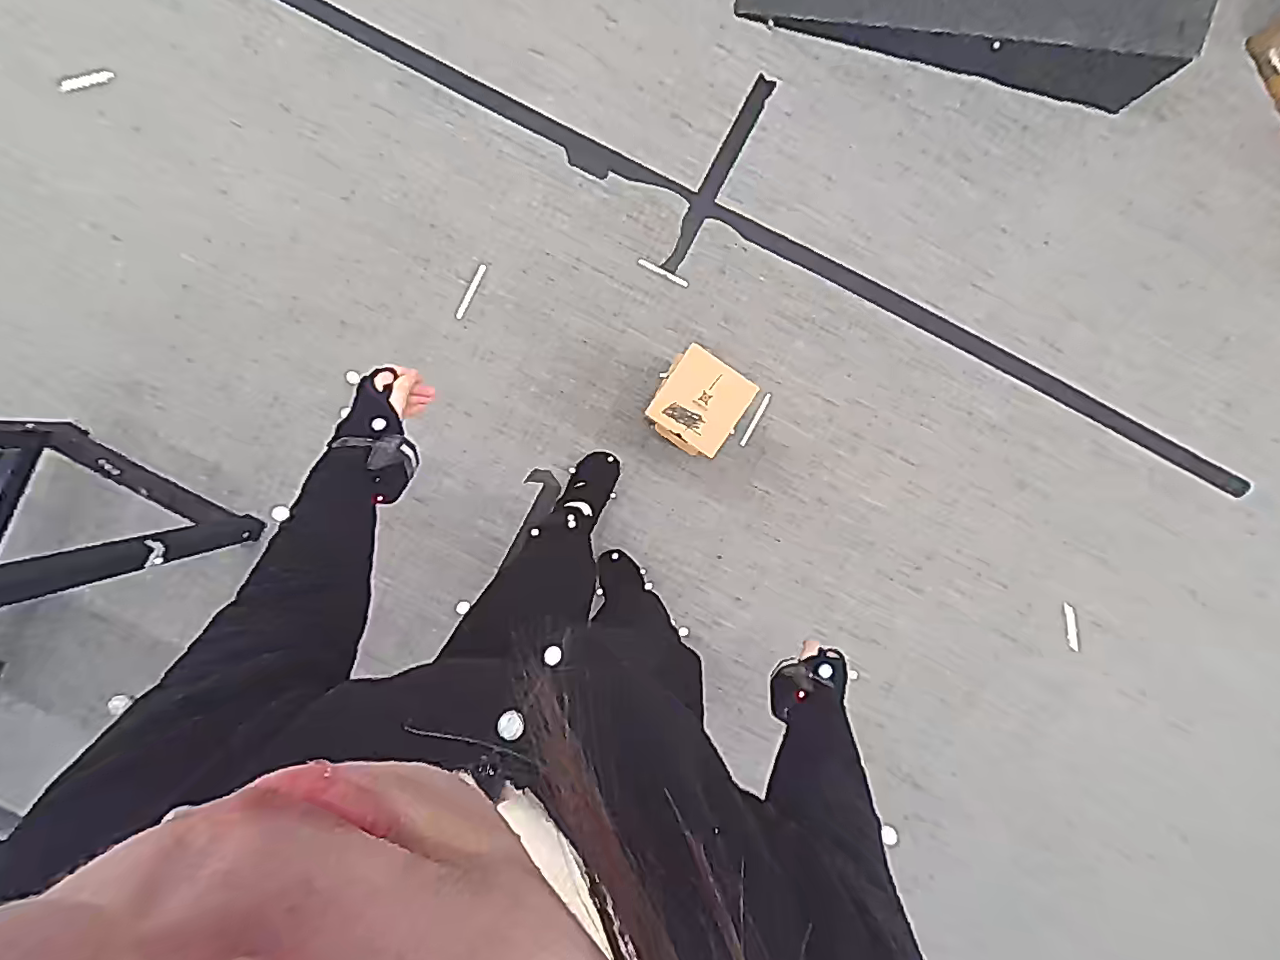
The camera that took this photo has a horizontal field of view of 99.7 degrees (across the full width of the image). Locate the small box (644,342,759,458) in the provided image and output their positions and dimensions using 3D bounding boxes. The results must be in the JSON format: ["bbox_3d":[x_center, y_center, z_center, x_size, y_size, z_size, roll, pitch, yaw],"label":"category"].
[{"bbox_3d":[0.124,-0.163,1.153,0.168,0.176,0.179,34,93,-3],"label":"small box"}]
